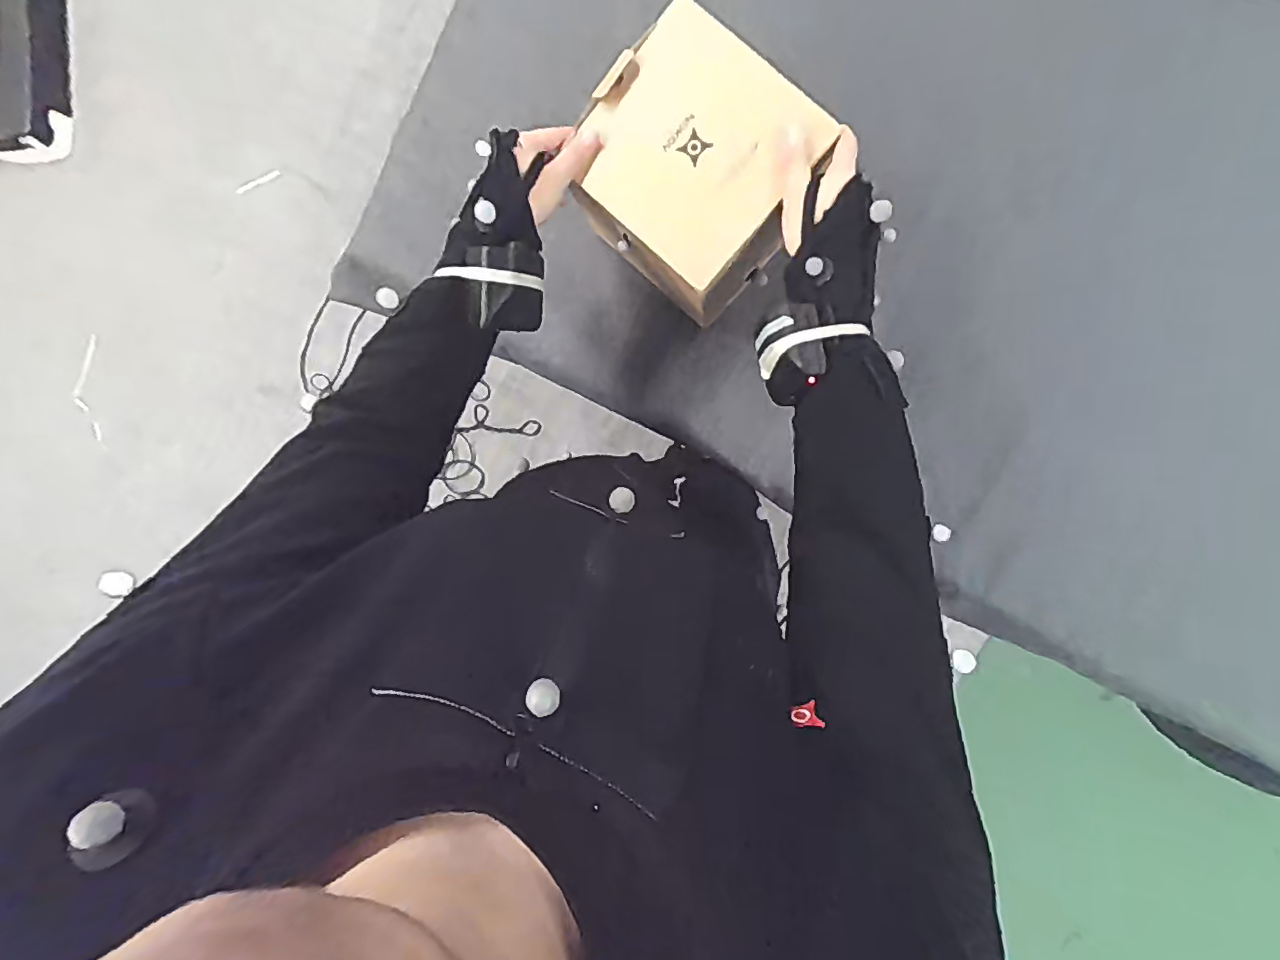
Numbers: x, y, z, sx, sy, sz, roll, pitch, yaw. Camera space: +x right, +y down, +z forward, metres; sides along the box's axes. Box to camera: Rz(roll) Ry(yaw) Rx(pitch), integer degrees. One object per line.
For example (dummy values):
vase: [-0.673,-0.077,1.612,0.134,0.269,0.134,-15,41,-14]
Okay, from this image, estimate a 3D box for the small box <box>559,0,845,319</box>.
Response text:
small box: [0.057,-0.279,0.519,0.179,0.176,0.168,42,100,3]
